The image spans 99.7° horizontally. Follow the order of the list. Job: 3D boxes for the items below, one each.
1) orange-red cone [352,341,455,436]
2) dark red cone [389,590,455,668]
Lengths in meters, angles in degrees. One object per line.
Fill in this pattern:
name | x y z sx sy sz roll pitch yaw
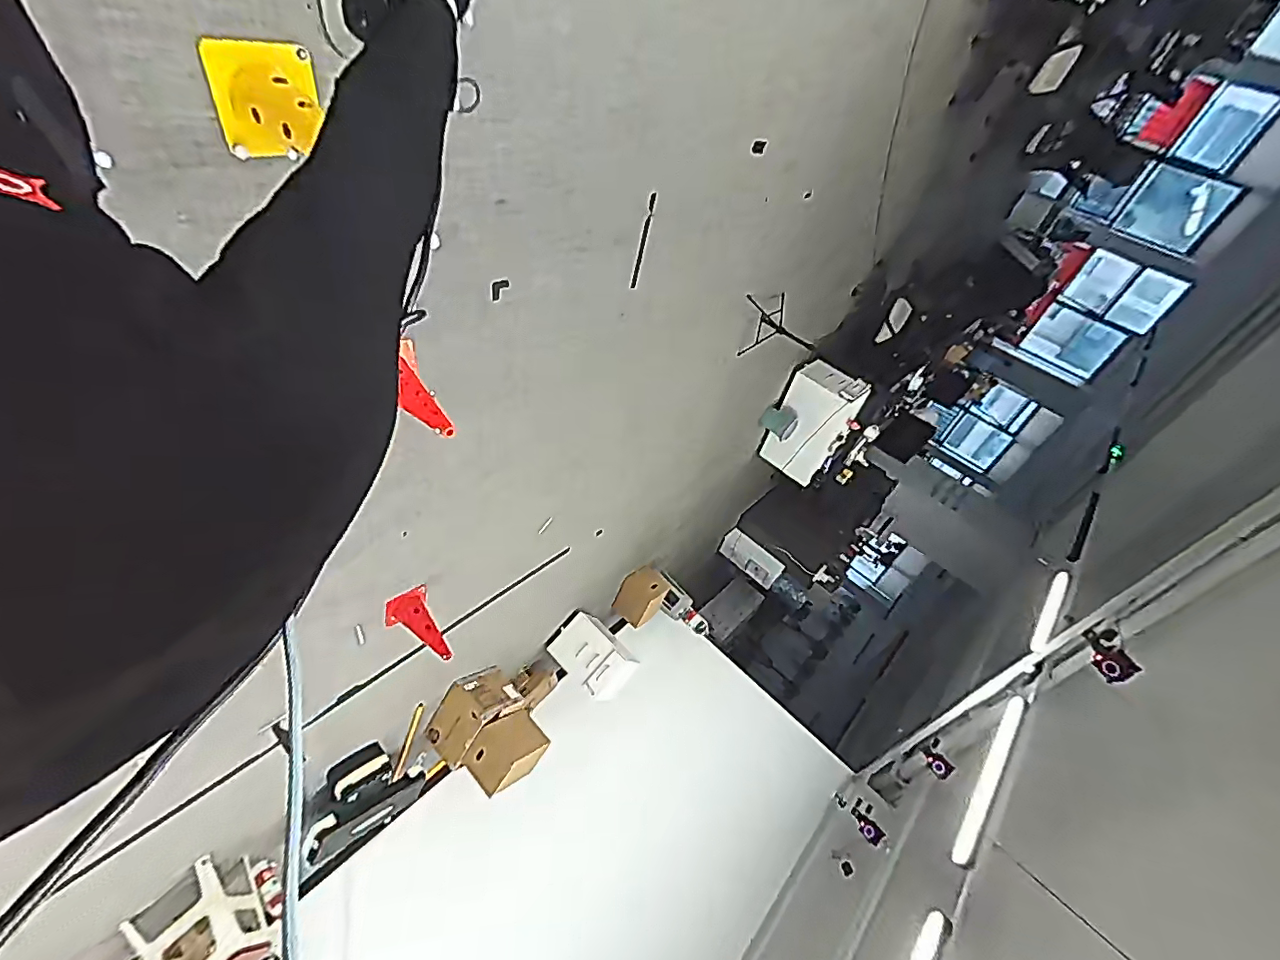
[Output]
orange-red cone | -0.690 -0.244 1.665 0.198 0.360 0.199 -34 150 -37
dark red cone | -0.979 0.714 2.496 0.201 0.394 0.202 -26 147 -43
